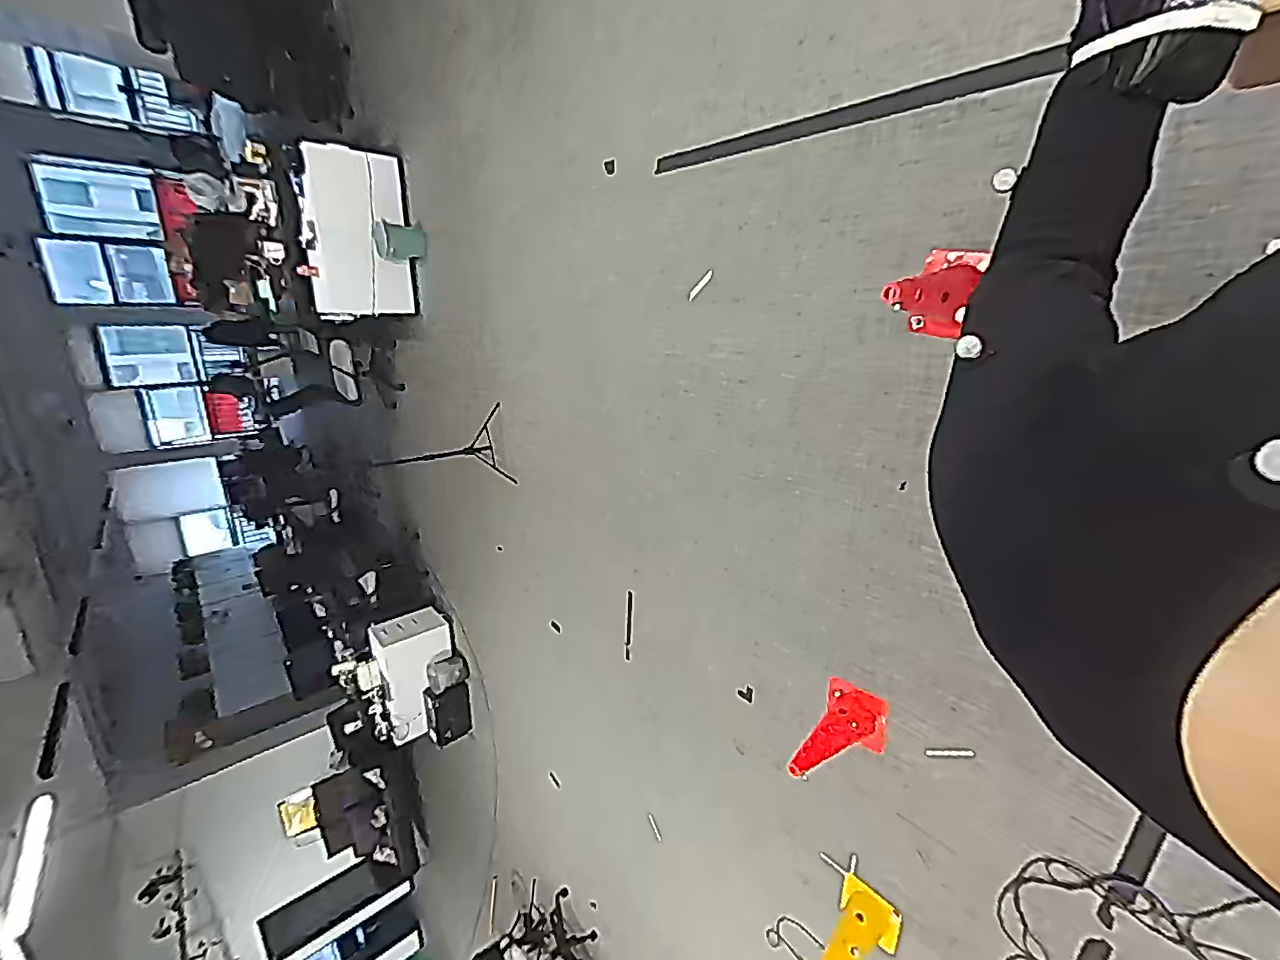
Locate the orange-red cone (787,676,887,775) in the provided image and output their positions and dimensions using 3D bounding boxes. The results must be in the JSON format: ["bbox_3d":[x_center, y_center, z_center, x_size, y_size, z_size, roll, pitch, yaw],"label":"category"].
[{"bbox_3d":[0.574,0.796,1.658,0.198,0.360,0.199,18,116,48],"label":"orange-red cone"}]

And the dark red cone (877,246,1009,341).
[{"bbox_3d":[0.625,-0.415,1.185,0.201,0.394,0.202,27,121,42],"label":"dark red cone"}]

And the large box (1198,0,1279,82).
[{"bbox_3d":[0.592,-0.444,0.250,0.408,0.320,0.320,20,122,45],"label":"large box"}]
